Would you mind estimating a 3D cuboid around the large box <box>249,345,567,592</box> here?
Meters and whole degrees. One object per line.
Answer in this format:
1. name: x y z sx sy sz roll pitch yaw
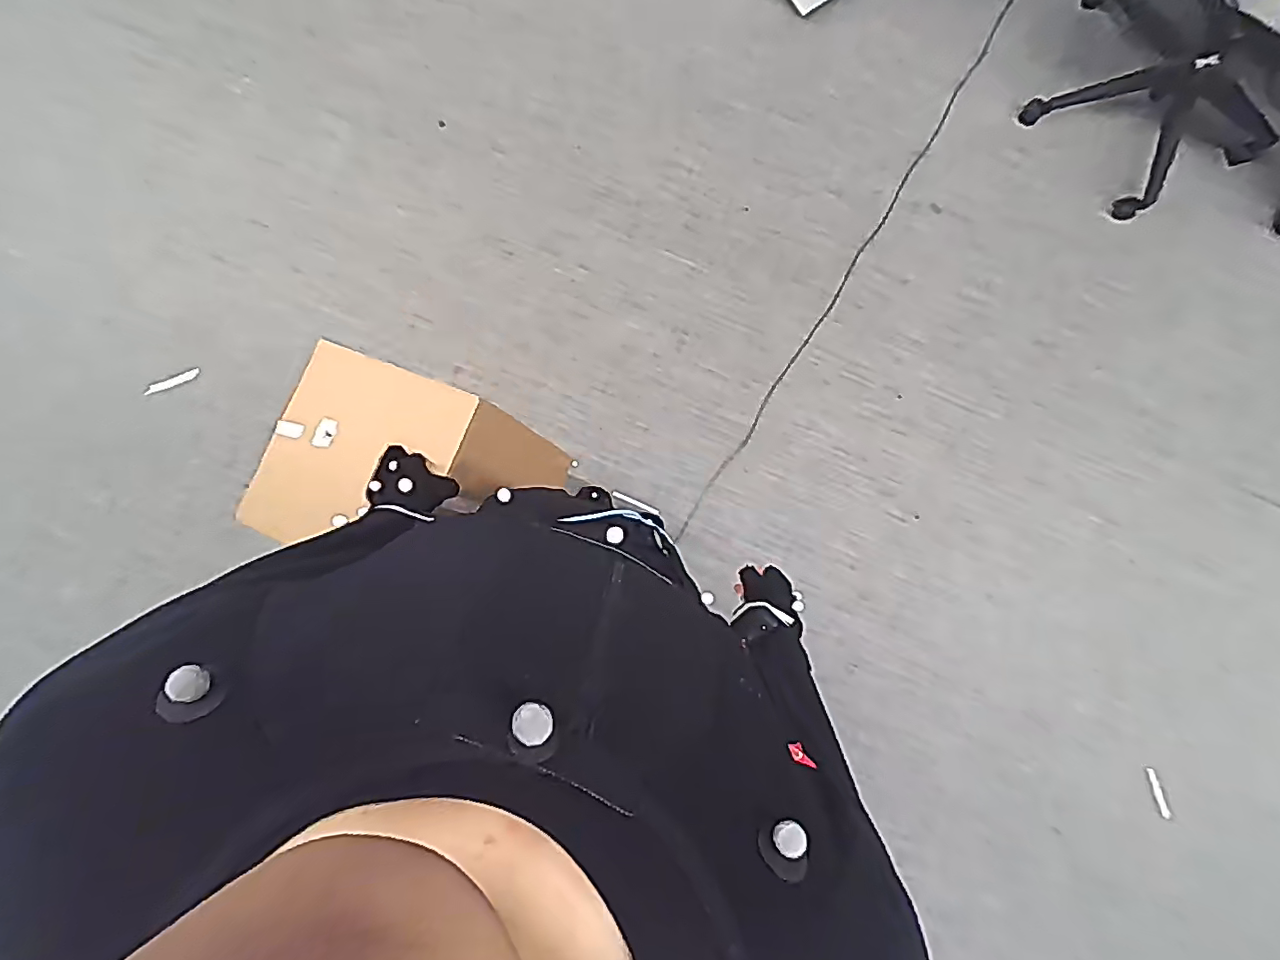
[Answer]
1. large box: -0.390 -0.003 1.006 0.320 0.408 0.320 22 86 15
